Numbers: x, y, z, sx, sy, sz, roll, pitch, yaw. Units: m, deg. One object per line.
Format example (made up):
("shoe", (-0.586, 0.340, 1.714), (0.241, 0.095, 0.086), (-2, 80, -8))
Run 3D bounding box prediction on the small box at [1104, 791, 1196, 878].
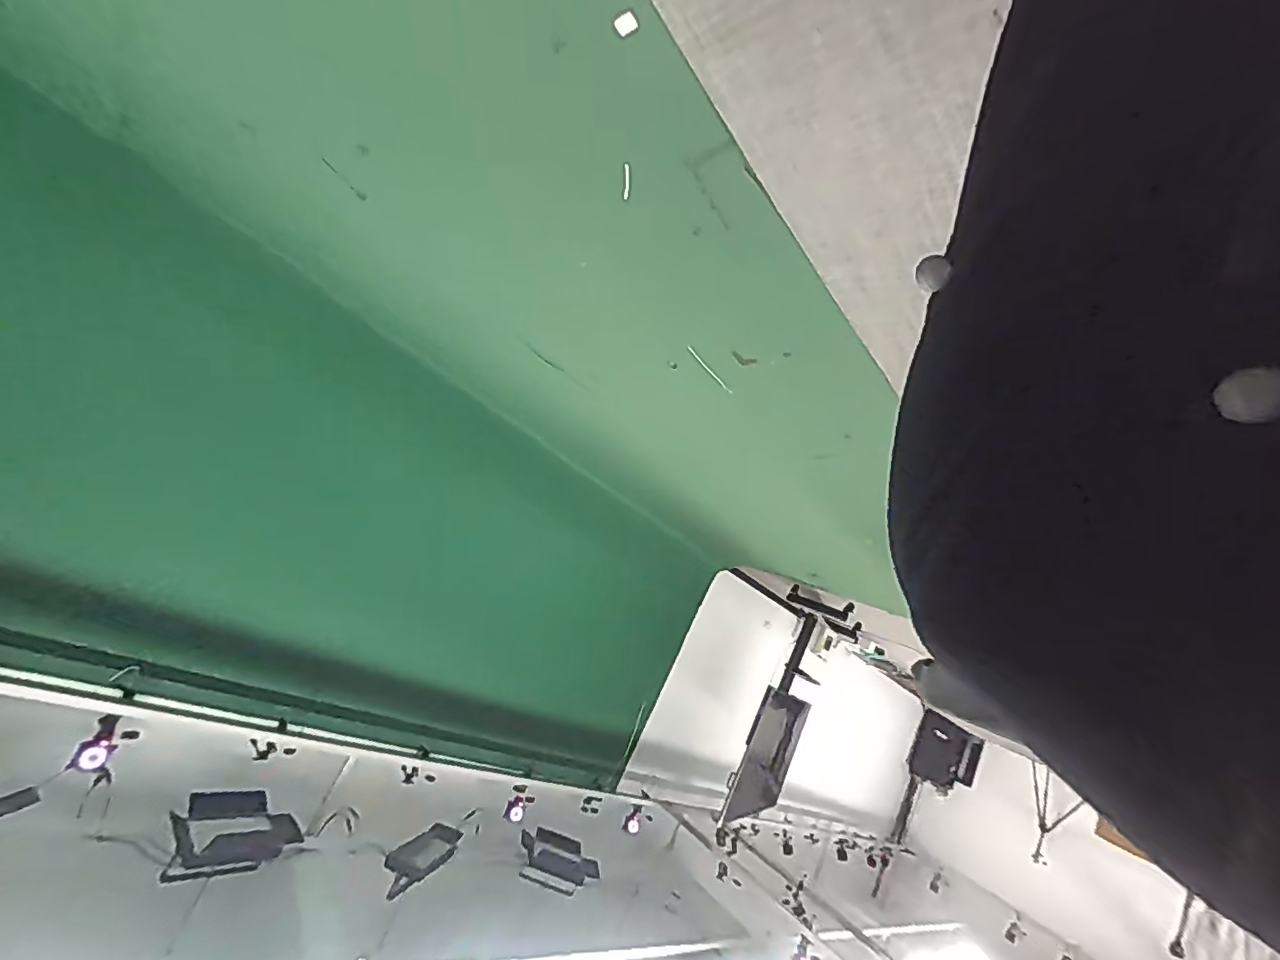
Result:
("small box", (1.587, 1.096, 1.685), (0.179, 0.176, 0.168), (14, 163, 49))
